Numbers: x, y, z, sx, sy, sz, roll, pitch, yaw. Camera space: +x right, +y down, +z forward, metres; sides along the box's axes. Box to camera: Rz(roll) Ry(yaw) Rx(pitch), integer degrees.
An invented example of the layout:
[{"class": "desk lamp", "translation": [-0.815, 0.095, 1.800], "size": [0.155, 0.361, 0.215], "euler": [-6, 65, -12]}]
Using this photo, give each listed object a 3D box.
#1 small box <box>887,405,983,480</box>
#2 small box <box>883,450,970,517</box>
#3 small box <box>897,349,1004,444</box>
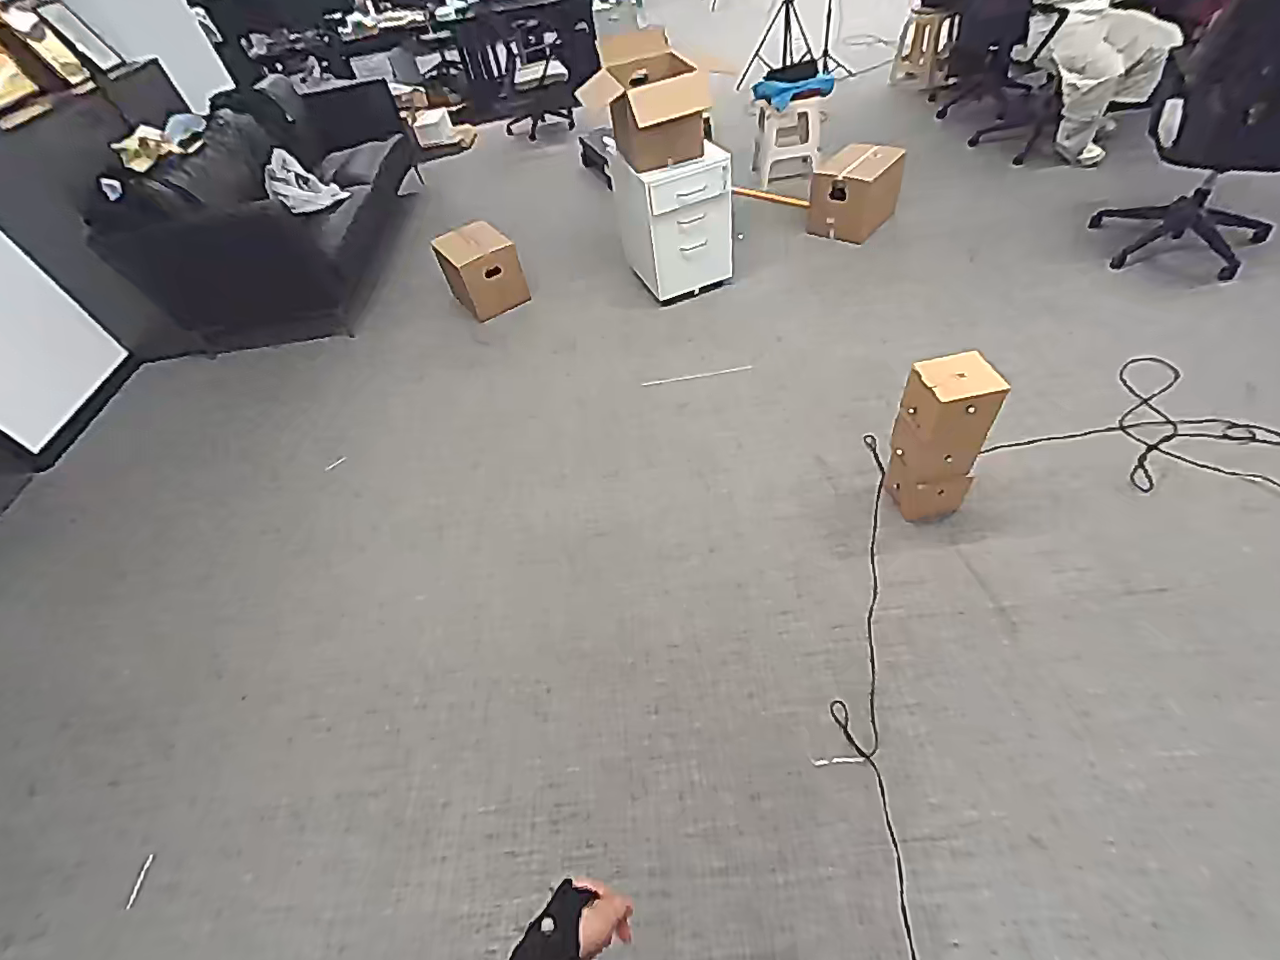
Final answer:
[{"class": "small box", "translation": [0.854, -0.122, 1.586], "size": [0.179, 0.176, 0.168], "euler": [-12, 48, 2]}, {"class": "small box", "translation": [0.885, -0.004, 1.696], "size": [0.179, 0.176, 0.168], "euler": [-13, 49, -1]}, {"class": "small box", "translation": [0.827, -0.223, 1.461], "size": [0.179, 0.176, 0.168], "euler": [-13, 48, 2]}]
